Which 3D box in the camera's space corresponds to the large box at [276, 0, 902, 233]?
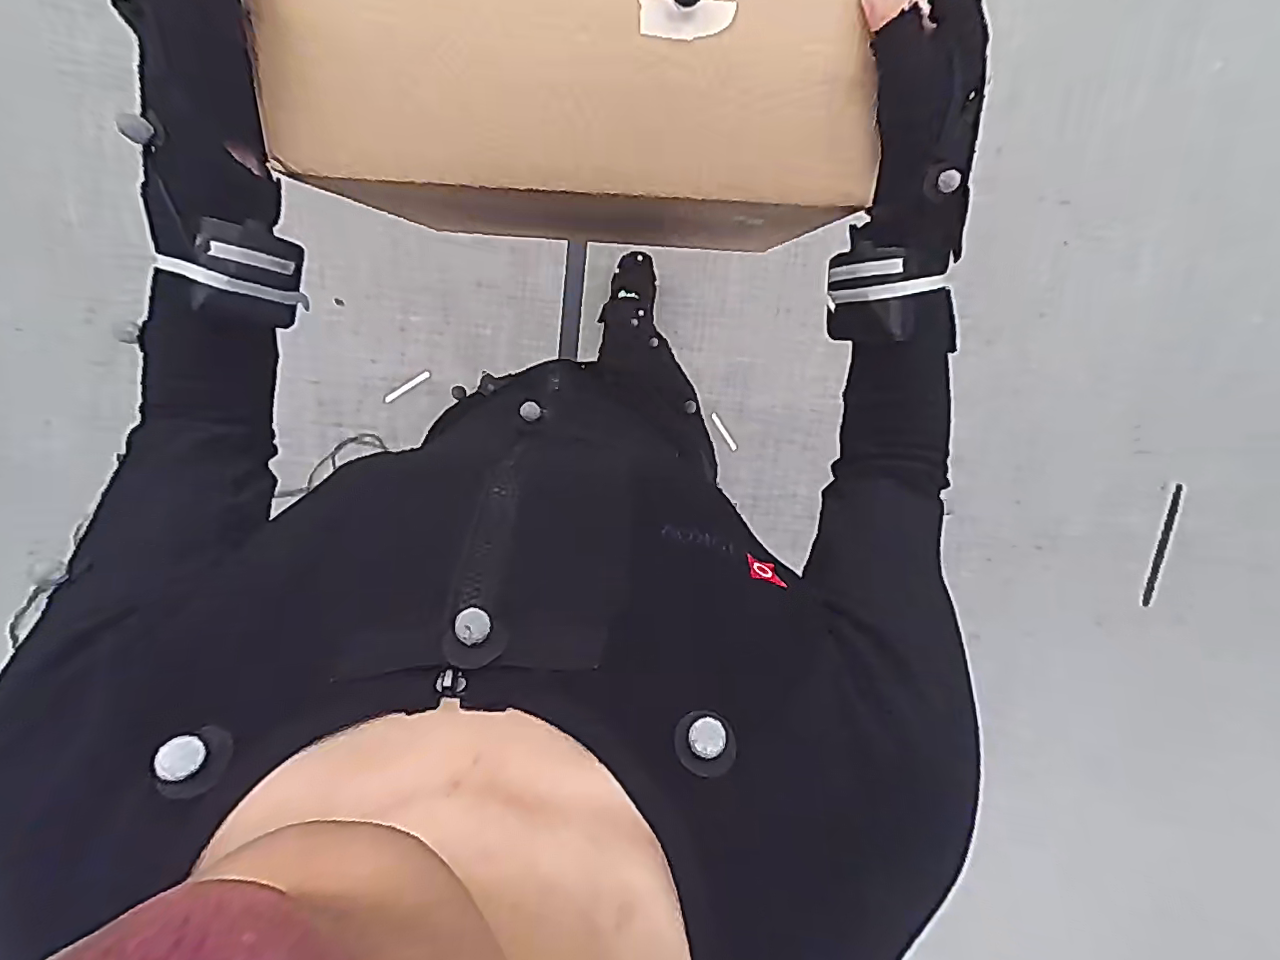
[{"bbox_3d":[-0.032,-0.404,0.465,0.408,0.320,0.320,2,109,-2],"label":"large box"}]
